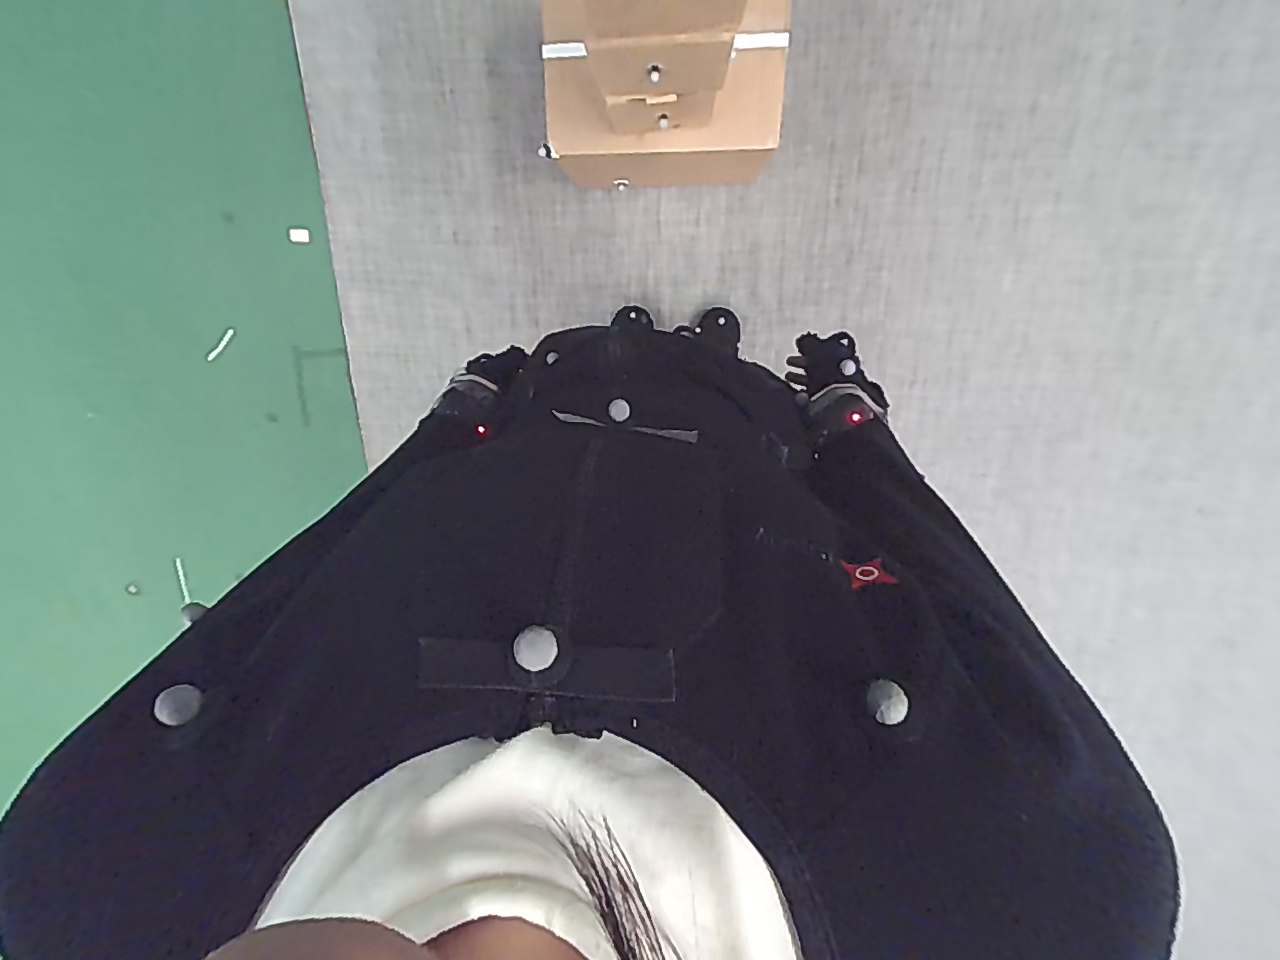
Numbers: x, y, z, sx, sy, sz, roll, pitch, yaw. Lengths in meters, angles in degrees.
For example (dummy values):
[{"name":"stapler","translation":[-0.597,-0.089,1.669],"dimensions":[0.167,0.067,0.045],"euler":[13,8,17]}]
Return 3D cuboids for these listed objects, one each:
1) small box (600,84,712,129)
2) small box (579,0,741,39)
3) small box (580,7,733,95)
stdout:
[{"name":"small box","translation":[0.025,-0.658,0.827],"dimensions":[0.168,0.176,0.179],"euler":[-3,110,5]},{"name":"small box","translation":[0.018,-0.556,0.517],"dimensions":[0.179,0.176,0.168],"euler":[-2,110,3]},{"name":"small box","translation":[0.022,-0.603,0.672],"dimensions":[0.179,0.176,0.168],"euler":[0,109,5]}]
